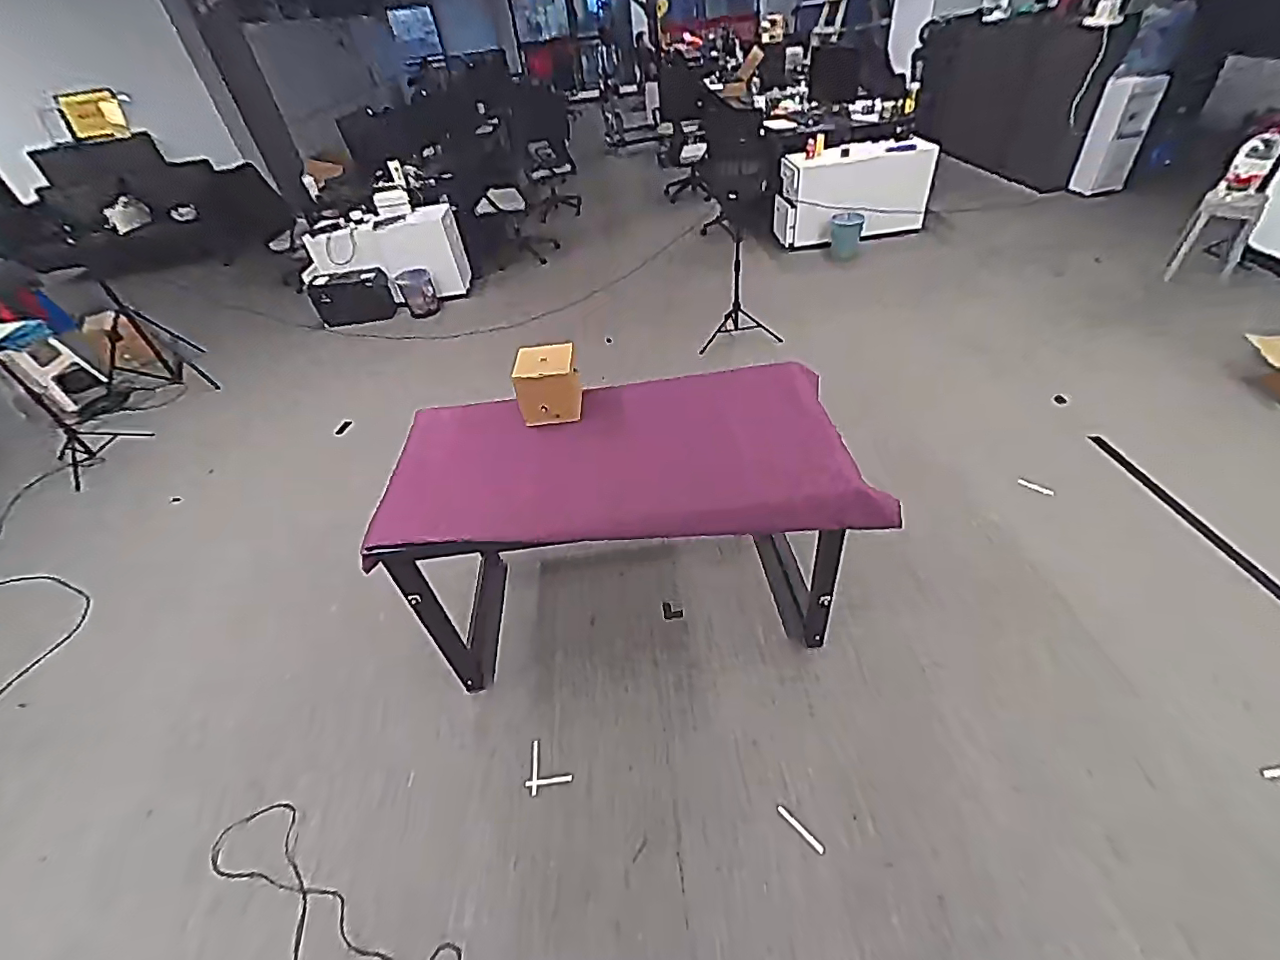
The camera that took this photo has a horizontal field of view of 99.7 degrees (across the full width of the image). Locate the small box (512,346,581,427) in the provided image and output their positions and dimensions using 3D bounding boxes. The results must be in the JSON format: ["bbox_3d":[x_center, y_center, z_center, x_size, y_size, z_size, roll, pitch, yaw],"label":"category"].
[{"bbox_3d":[-0.273,-0.280,1.624,0.168,0.176,0.179,-6,42,2],"label":"small box"}]
